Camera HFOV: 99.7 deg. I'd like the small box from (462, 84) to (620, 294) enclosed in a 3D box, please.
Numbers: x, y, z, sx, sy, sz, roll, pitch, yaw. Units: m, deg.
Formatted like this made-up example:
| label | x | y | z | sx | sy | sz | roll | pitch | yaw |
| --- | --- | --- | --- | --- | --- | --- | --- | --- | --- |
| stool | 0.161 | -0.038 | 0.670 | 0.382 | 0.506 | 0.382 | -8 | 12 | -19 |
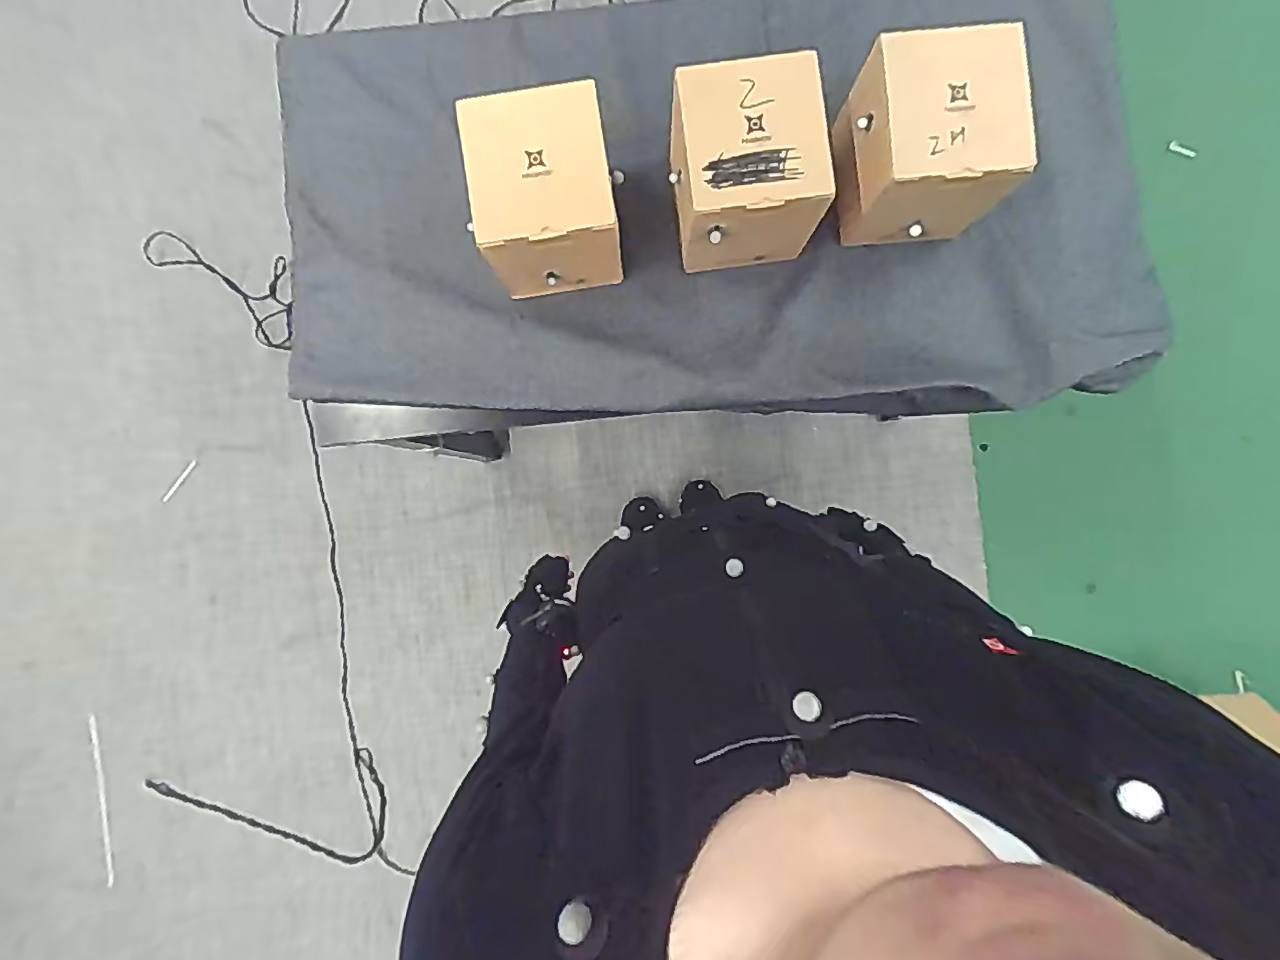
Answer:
| label | x | y | z | sx | sy | sz | roll | pitch | yaw |
| --- | --- | --- | --- | --- | --- | --- | --- | --- | --- |
| small box | -0.119 | -0.369 | 0.713 | 0.168 | 0.176 | 0.179 | -9 | 89 | 0 |
